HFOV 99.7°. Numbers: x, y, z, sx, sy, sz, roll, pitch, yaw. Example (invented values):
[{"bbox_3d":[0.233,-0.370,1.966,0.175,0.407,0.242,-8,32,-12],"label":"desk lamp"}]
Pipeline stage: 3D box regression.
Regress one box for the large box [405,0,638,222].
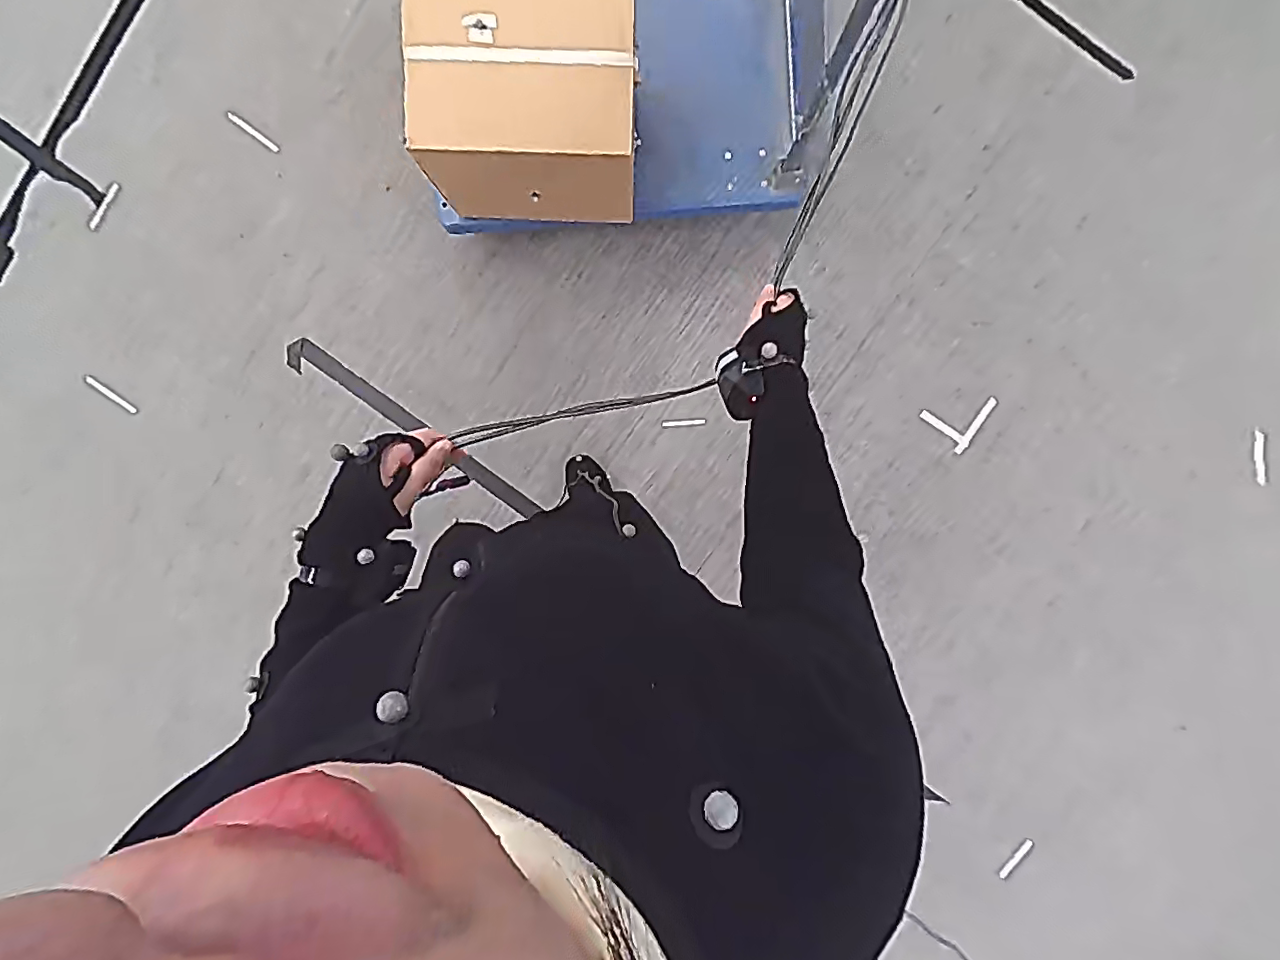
[{"bbox_3d":[-0.208,-0.735,1.091,0.408,0.320,0.320,1,94,0],"label":"large box"}]
